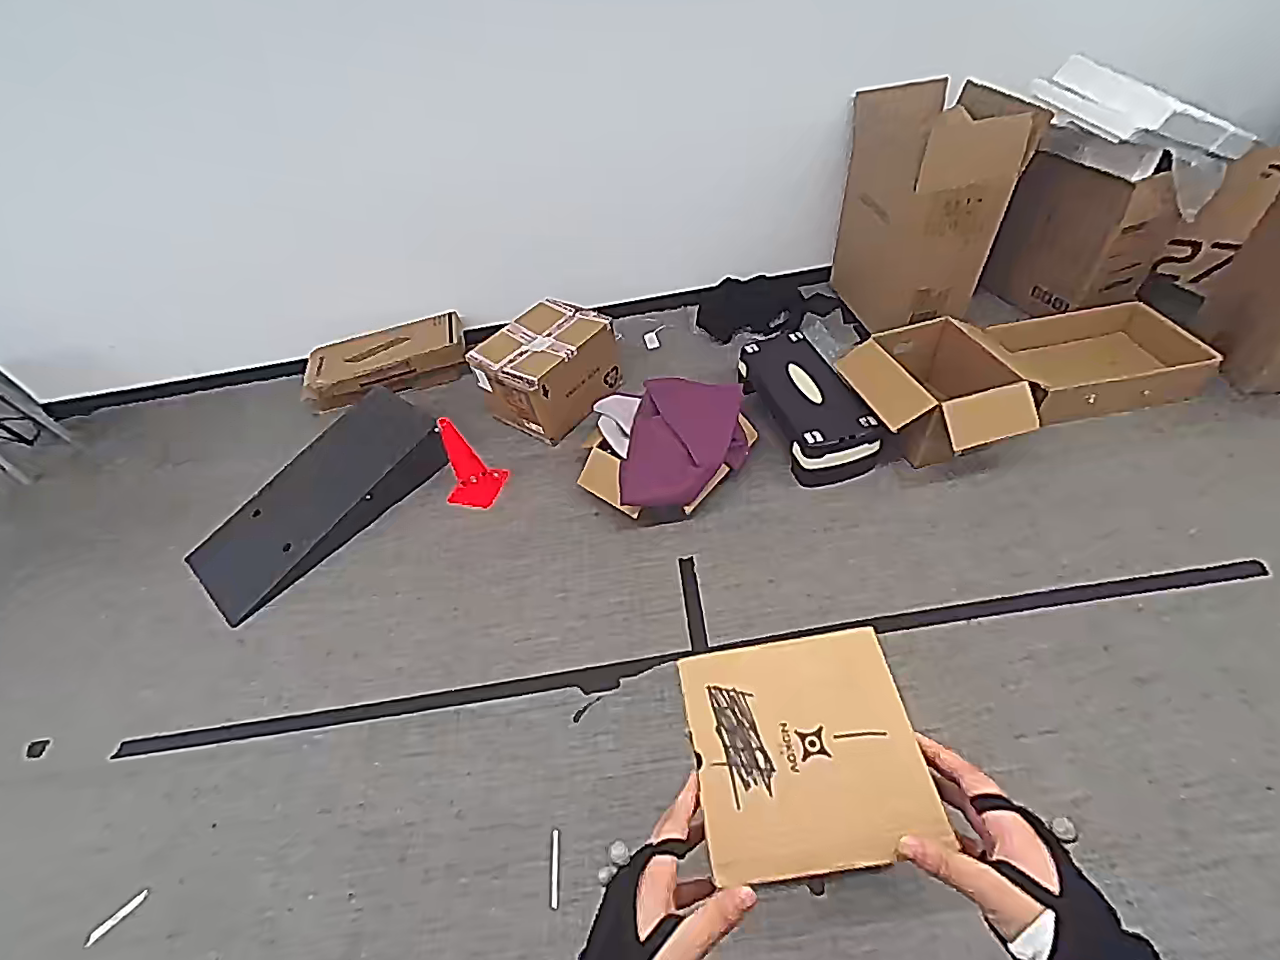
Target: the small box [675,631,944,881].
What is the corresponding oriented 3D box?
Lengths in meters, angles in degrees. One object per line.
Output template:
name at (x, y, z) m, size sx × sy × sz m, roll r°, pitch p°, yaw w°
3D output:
small box at (0.139, 0.260, 0.499) m, size 0.179 × 0.176 × 0.168 m, roll -11°, pitch 53°, yaw 4°
